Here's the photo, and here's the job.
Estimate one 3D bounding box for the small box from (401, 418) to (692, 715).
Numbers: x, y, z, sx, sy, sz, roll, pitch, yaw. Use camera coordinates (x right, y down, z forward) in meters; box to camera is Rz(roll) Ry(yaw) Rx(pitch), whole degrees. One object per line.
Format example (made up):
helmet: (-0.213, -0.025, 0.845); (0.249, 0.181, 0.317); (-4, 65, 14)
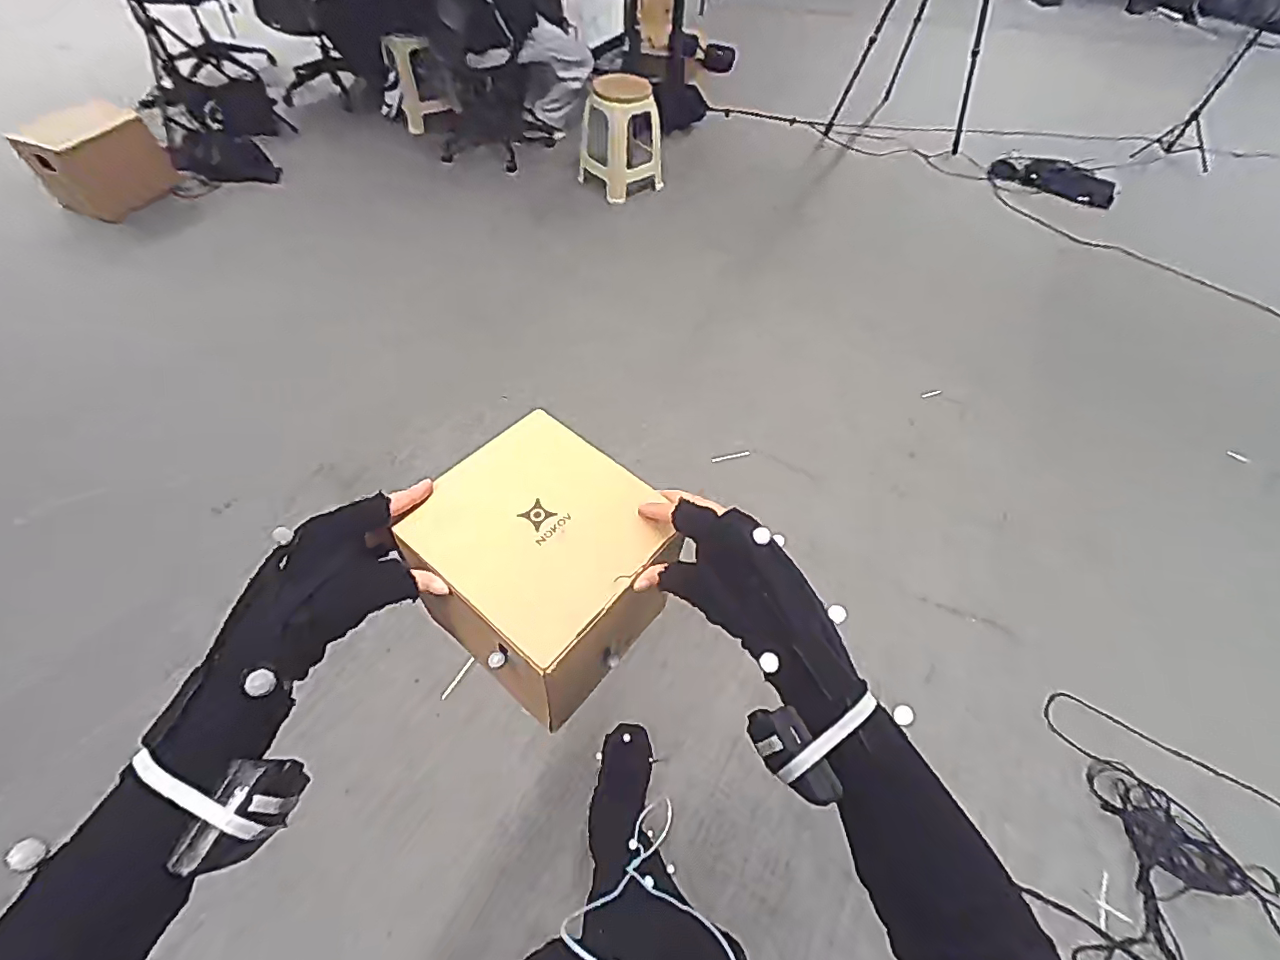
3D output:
small box: (-0.081, 0.082, 0.496); (0.179, 0.176, 0.168); (36, 57, 19)
